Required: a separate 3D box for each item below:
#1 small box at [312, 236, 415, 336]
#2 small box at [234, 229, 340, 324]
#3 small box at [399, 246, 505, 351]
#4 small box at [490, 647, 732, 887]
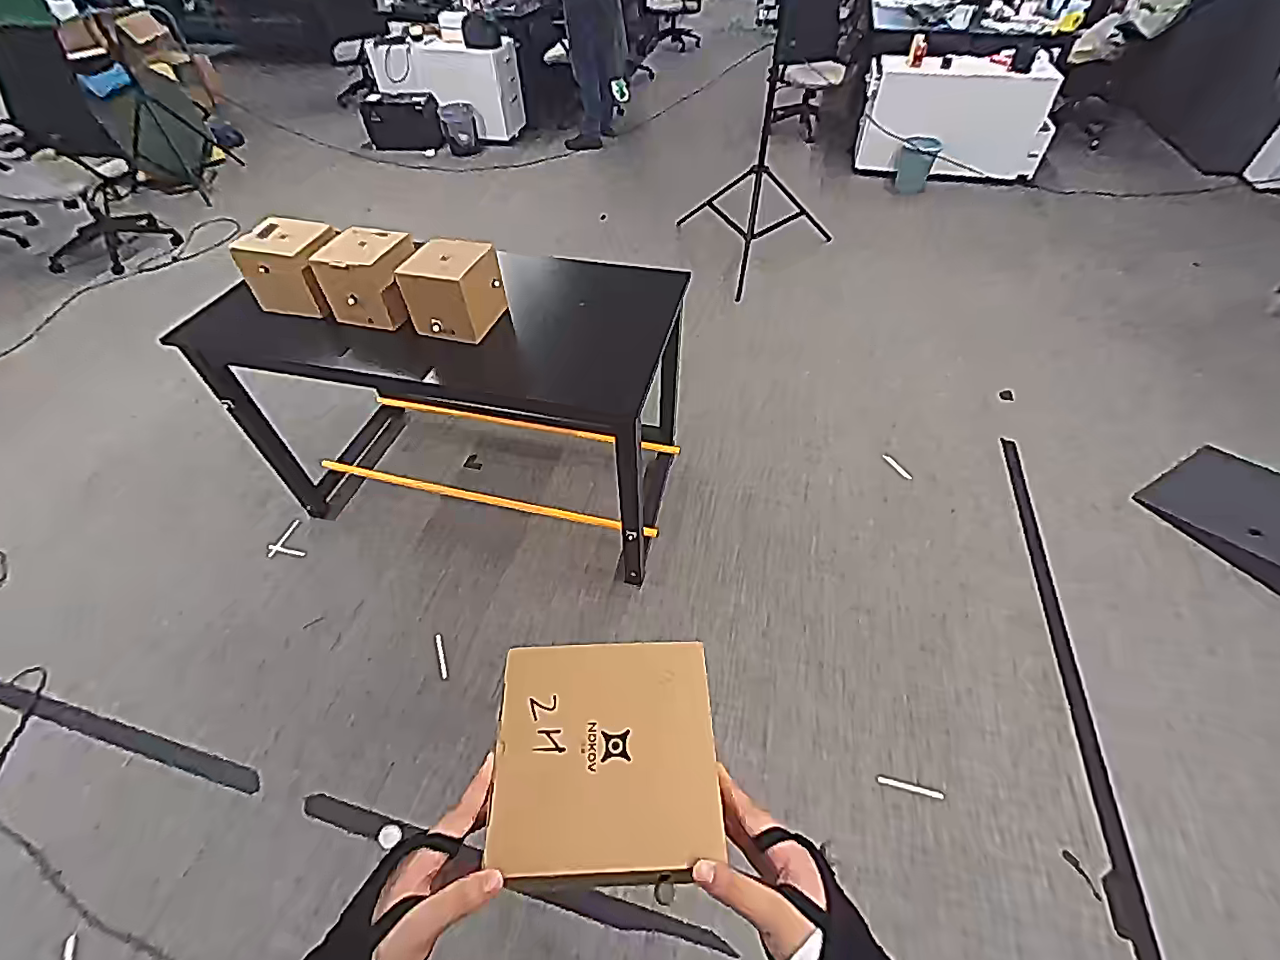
[{"bbox_3d":[-0.659,-0.482,1.348,0.168,0.176,0.179,11,50,10],"label":"small box"},{"bbox_3d":[-0.868,-0.520,1.384,0.179,0.176,0.168,9,50,8],"label":"small box"},{"bbox_3d":[-0.441,-0.439,1.308,0.168,0.176,0.179,10,50,12],"label":"small box"},{"bbox_3d":[-0.023,0.265,0.497,0.179,0.176,0.168,-2,50,-1],"label":"small box"}]
